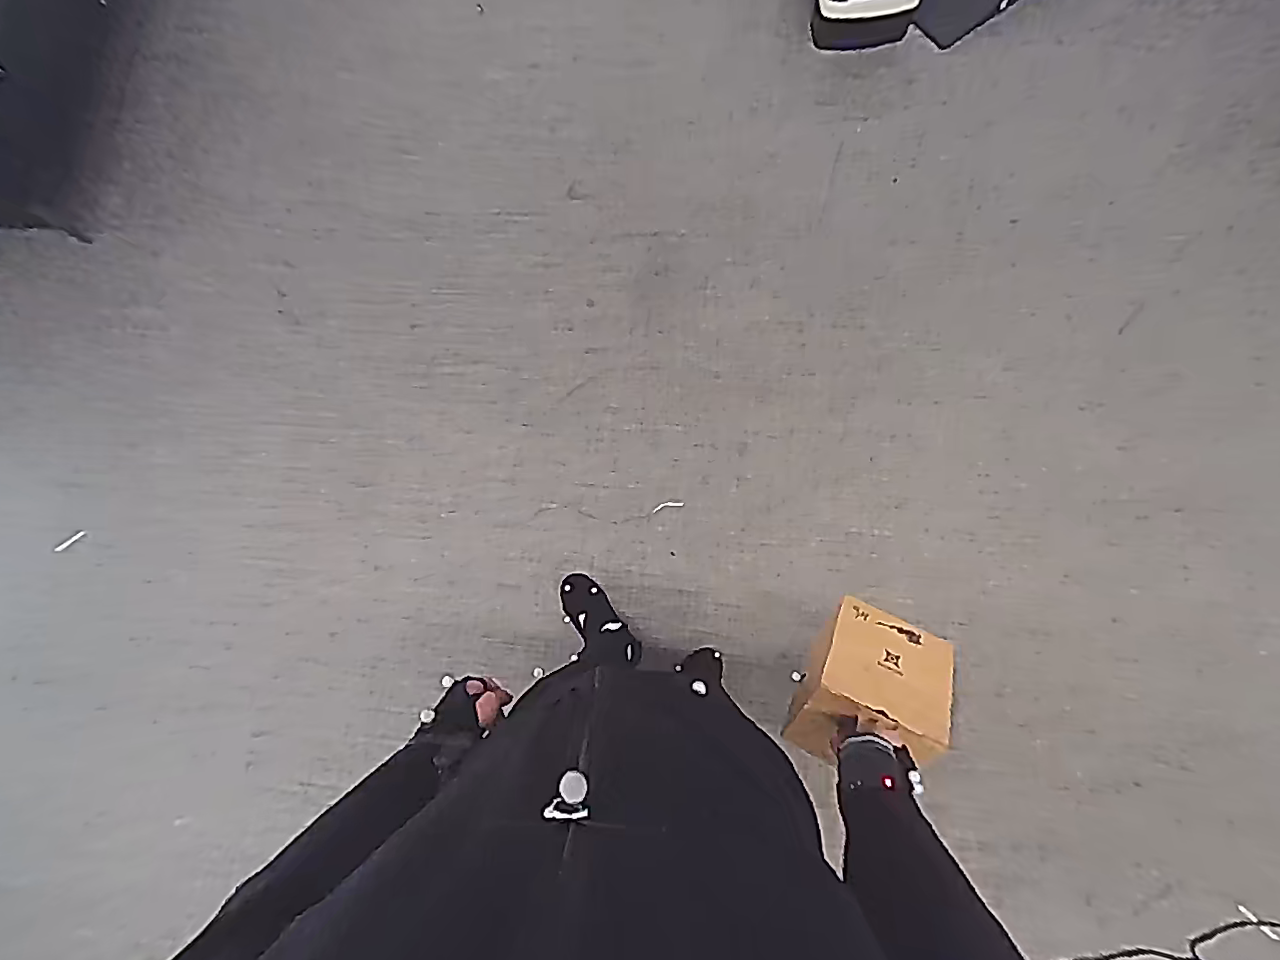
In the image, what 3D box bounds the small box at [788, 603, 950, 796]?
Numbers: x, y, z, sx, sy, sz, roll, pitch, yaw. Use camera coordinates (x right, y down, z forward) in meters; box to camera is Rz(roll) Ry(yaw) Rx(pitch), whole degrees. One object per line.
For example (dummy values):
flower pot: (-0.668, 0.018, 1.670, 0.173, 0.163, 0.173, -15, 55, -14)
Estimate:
small box: (0.334, 0.325, 0.802, 0.168, 0.176, 0.179, 23, 41, 16)
